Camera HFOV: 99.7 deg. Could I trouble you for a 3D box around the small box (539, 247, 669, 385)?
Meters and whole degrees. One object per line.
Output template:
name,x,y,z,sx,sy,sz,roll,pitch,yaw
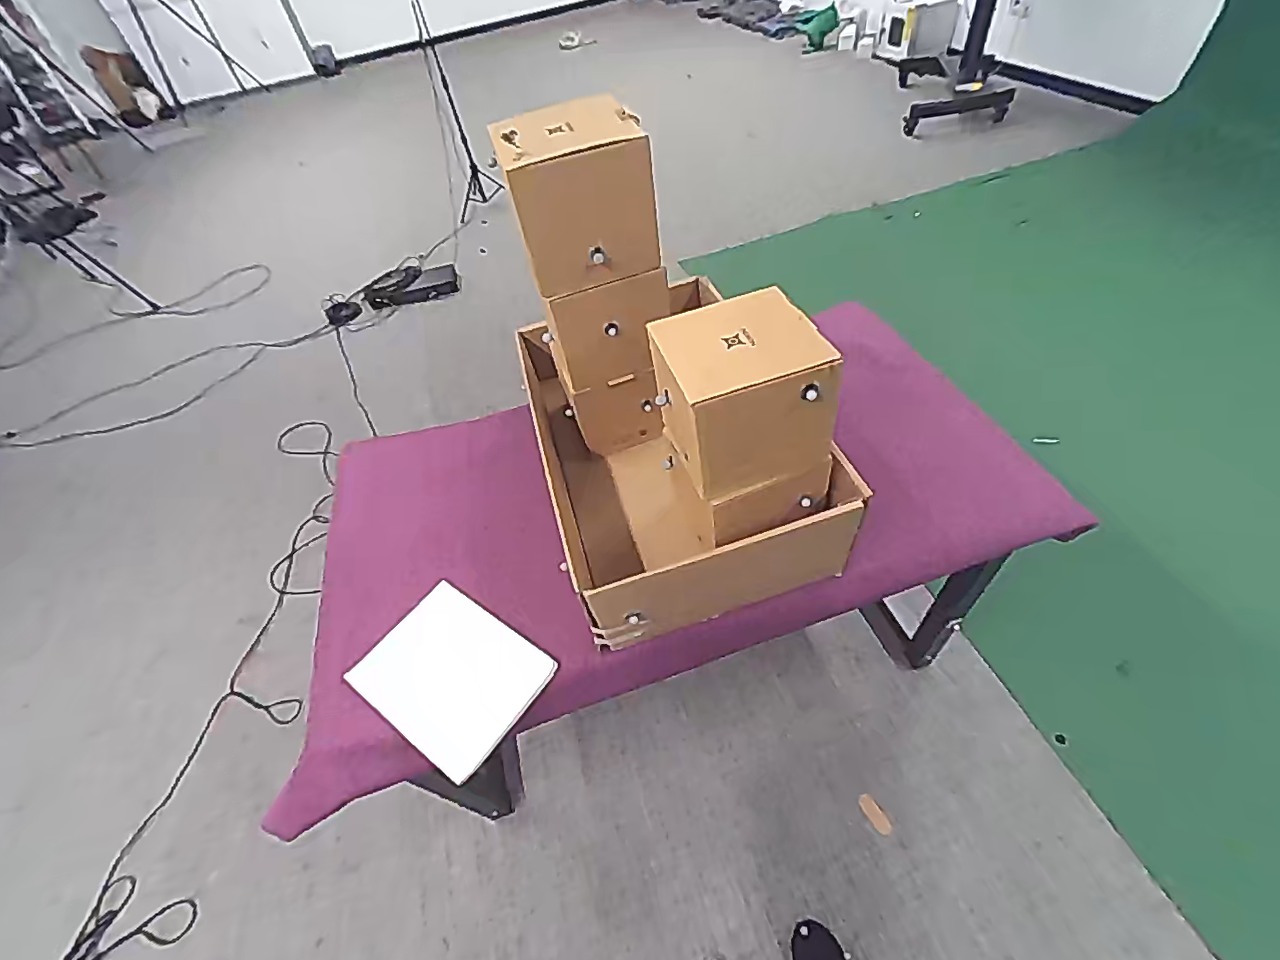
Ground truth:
small box,-0.060,-0.280,0.852,0.179,0.176,0.168,-19,51,-7

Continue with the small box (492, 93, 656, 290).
small box,-0.082,-0.385,0.727,0.179,0.176,0.168,-17,51,-7

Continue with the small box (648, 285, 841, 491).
small box,0.124,-0.111,0.676,0.179,0.176,0.168,-17,49,-5
